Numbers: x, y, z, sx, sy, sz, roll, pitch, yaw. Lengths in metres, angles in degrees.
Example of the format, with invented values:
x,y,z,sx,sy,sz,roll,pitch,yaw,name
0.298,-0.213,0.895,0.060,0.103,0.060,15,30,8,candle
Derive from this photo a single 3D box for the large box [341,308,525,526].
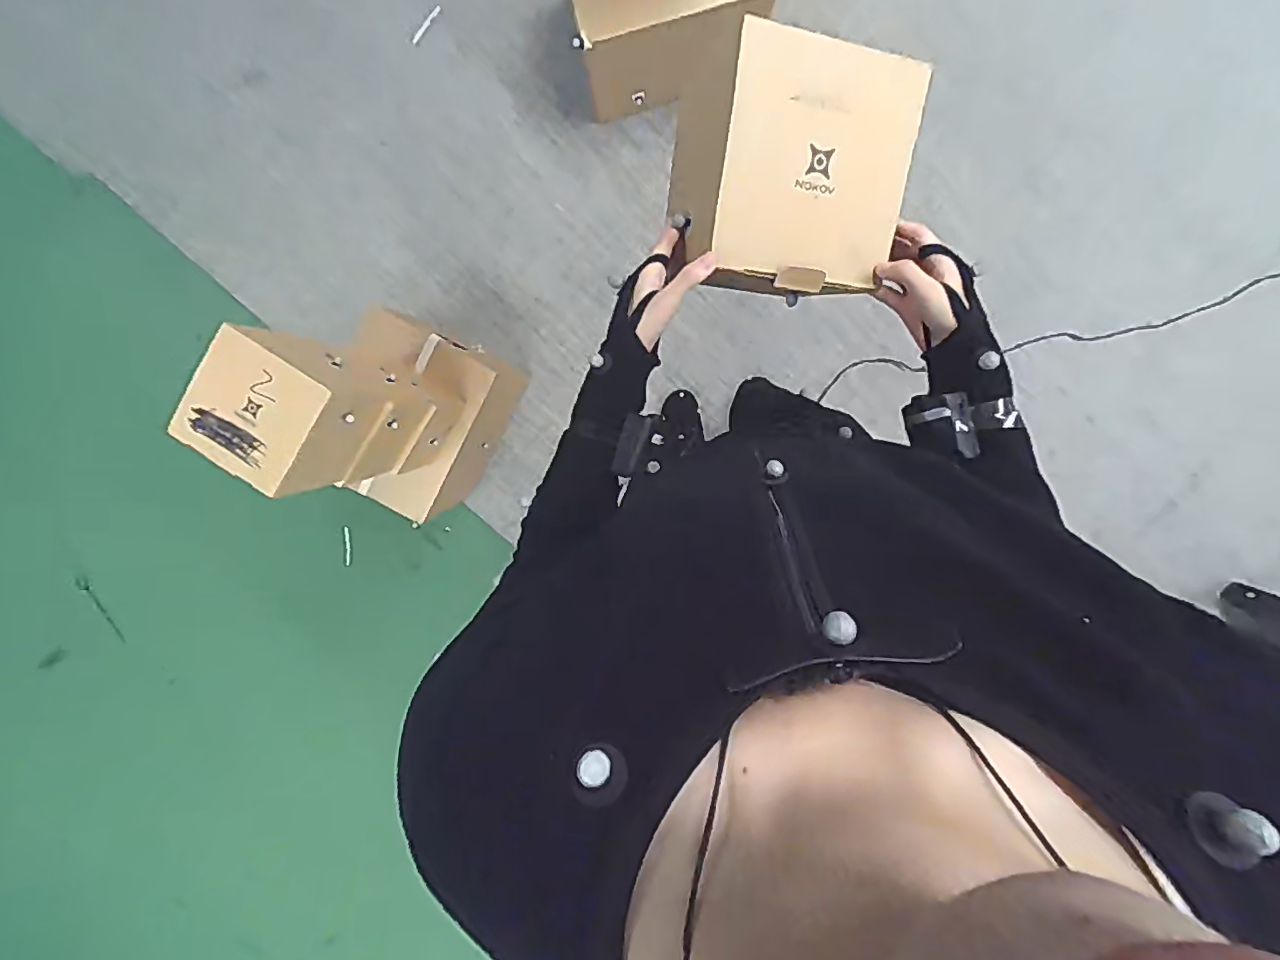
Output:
x,y,z,sx,sy,sz,roll,pitch,yaw,name
-0.536,-0.162,1.353,0.320,0.320,0.408,28,100,-2,large box

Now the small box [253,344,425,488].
x,y,z,sx,sy,sz,roll,pitch,yaw,name
-0.511,-0.112,0.948,0.168,0.176,0.179,35,97,-4,small box

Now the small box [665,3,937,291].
x,y,z,sx,sy,sz,roll,pitch,yaw,name
0.128,-0.278,0.503,0.168,0.176,0.179,3,106,-14,small box

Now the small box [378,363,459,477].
x,y,z,sx,sy,sz,roll,pitch,yaw,name
-0.503,-0.131,1.109,0.179,0.176,0.168,34,98,-4,small box
